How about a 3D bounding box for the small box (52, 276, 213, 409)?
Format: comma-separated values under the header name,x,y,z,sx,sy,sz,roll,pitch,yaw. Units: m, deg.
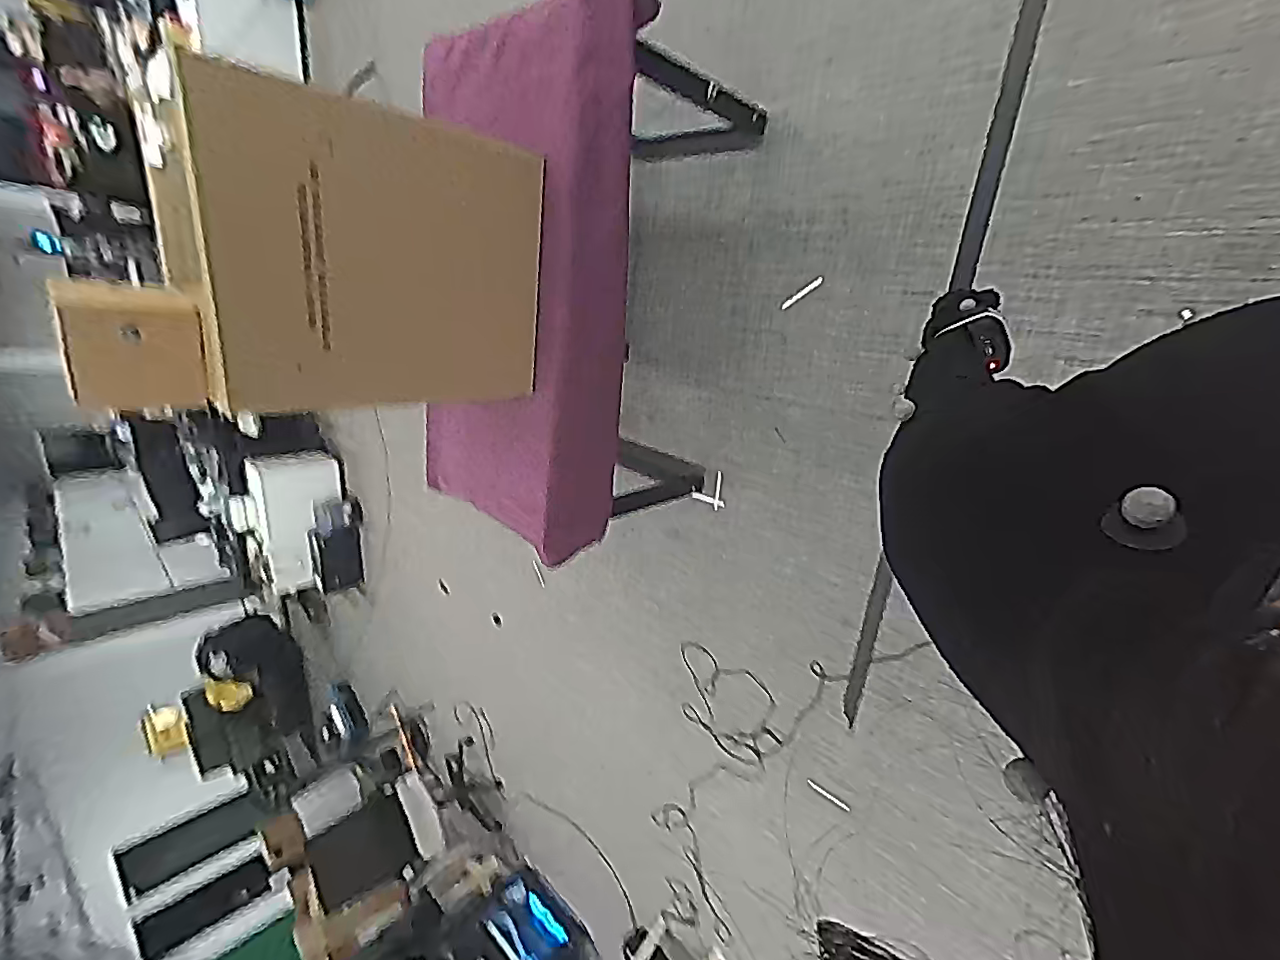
name,x,y,z,sx,sy,sz,roll,pitch,yaw
small box,-0.861,-0.235,0.925,0.168,0.176,0.179,31,120,36
